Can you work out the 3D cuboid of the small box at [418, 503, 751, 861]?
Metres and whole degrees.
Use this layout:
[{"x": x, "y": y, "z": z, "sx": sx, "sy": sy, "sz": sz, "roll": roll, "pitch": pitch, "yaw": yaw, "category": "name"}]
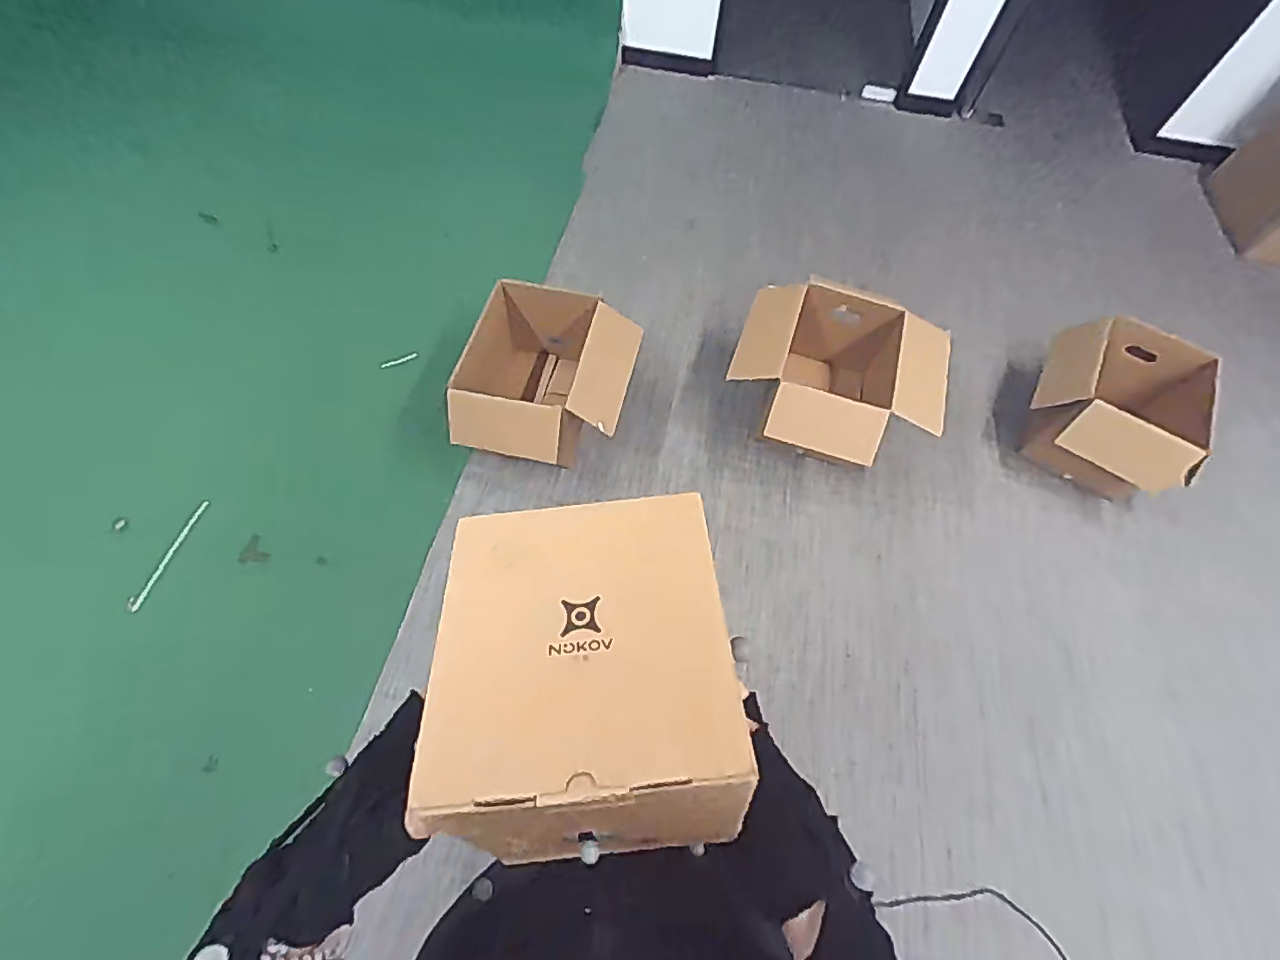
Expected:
[{"x": -0.028, "y": 0.141, "z": 0.375, "sx": 0.168, "sy": 0.176, "sz": 0.179, "roll": -7, "pitch": 49, "yaw": 0, "category": "small box"}]
